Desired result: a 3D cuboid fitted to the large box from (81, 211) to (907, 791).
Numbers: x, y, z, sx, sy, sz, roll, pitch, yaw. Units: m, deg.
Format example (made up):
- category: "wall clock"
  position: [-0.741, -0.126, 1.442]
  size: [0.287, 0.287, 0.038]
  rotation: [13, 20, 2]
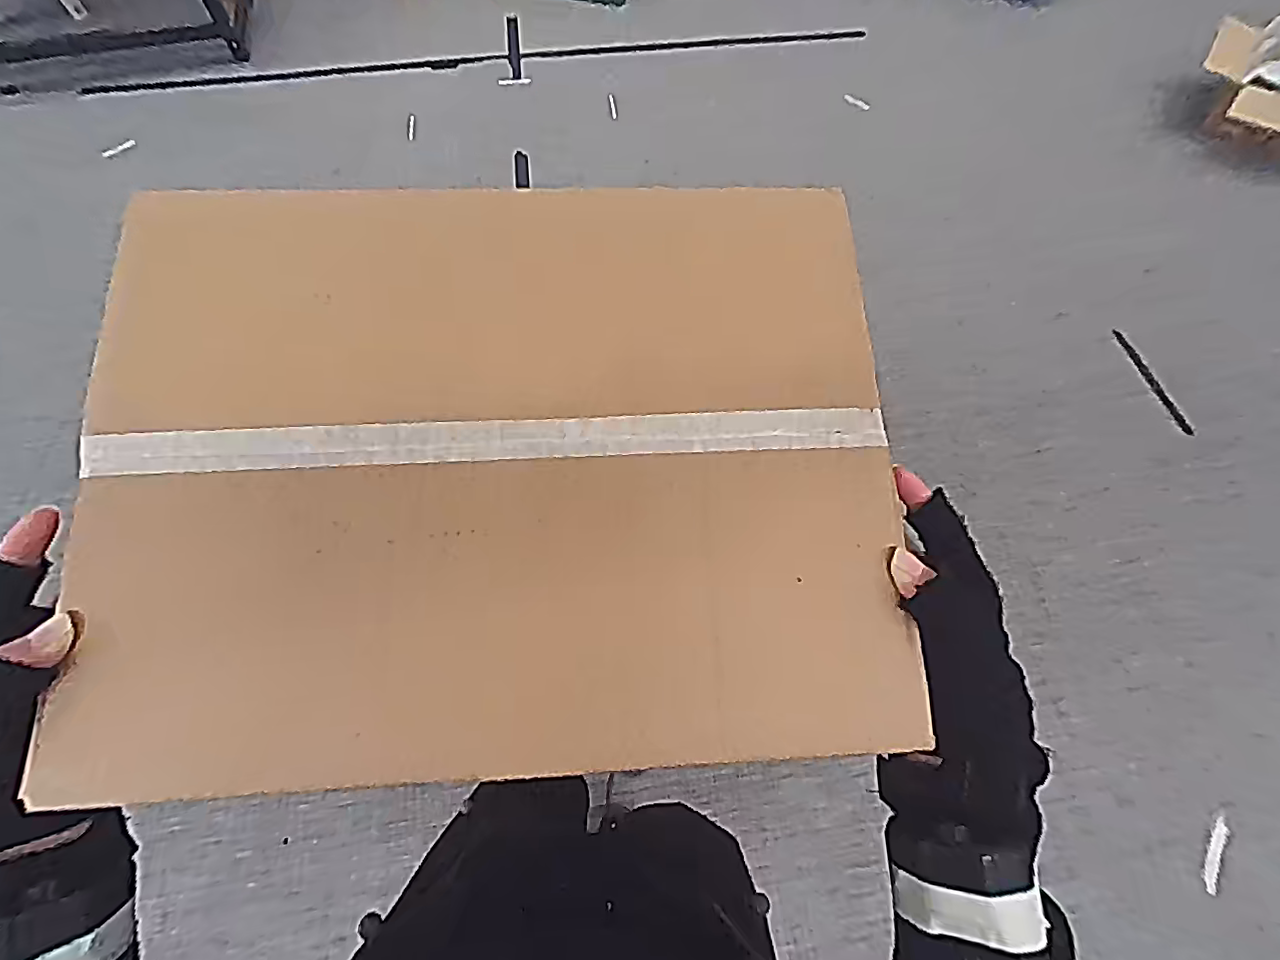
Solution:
- category: "large box"
  position: [-0.078, 0.022, 0.440]
  size: [0.408, 0.320, 0.320]
  rotation: [-2, 77, -4]
